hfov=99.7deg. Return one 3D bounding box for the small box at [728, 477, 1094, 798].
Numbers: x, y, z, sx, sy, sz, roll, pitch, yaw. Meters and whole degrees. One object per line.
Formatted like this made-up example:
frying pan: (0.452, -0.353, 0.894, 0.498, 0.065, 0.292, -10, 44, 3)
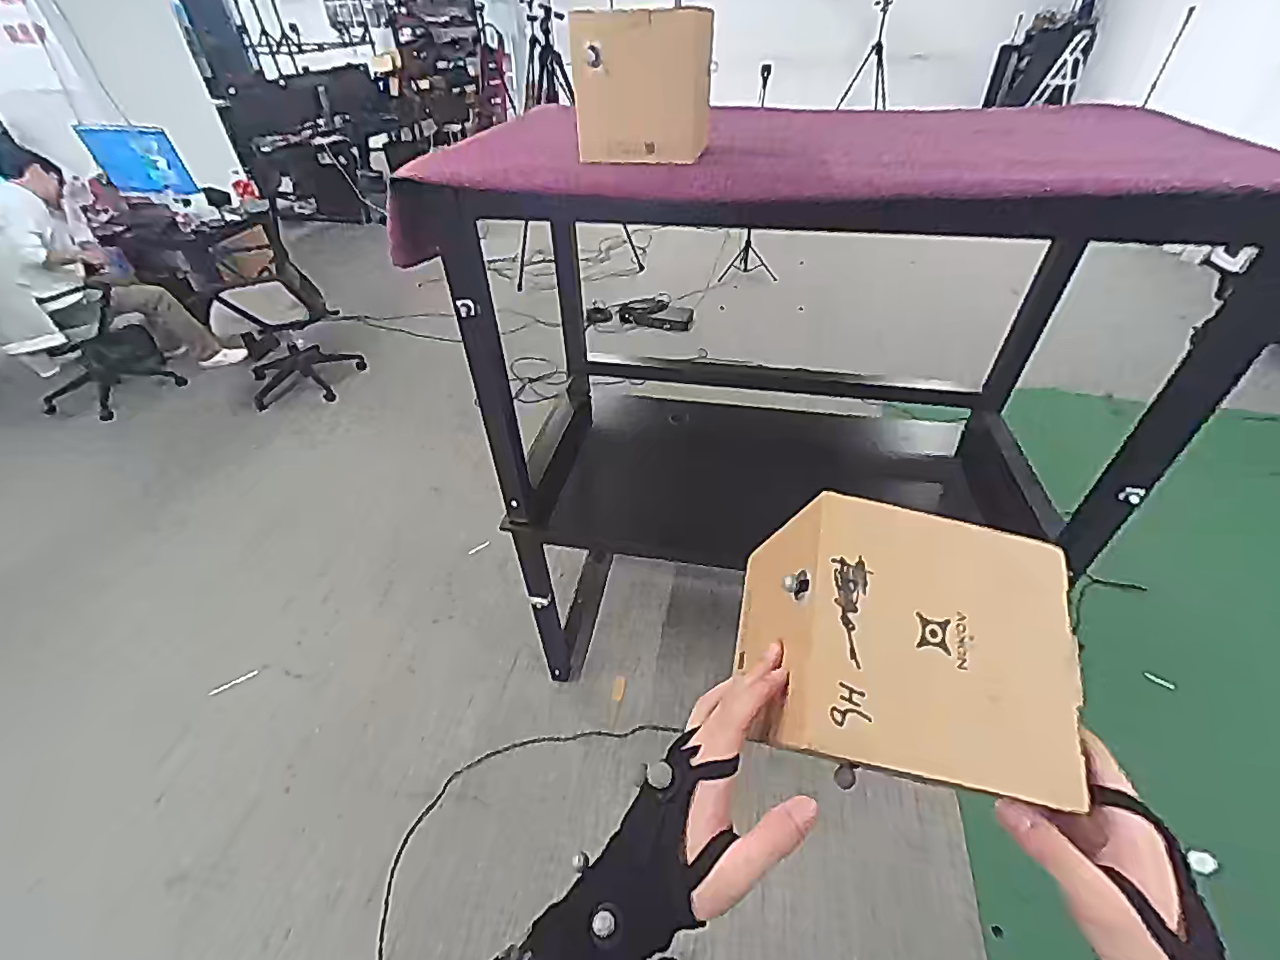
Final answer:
small box: (0.183, 0.121, 0.411, 0.179, 0.176, 0.168, 14, 65, -2)
